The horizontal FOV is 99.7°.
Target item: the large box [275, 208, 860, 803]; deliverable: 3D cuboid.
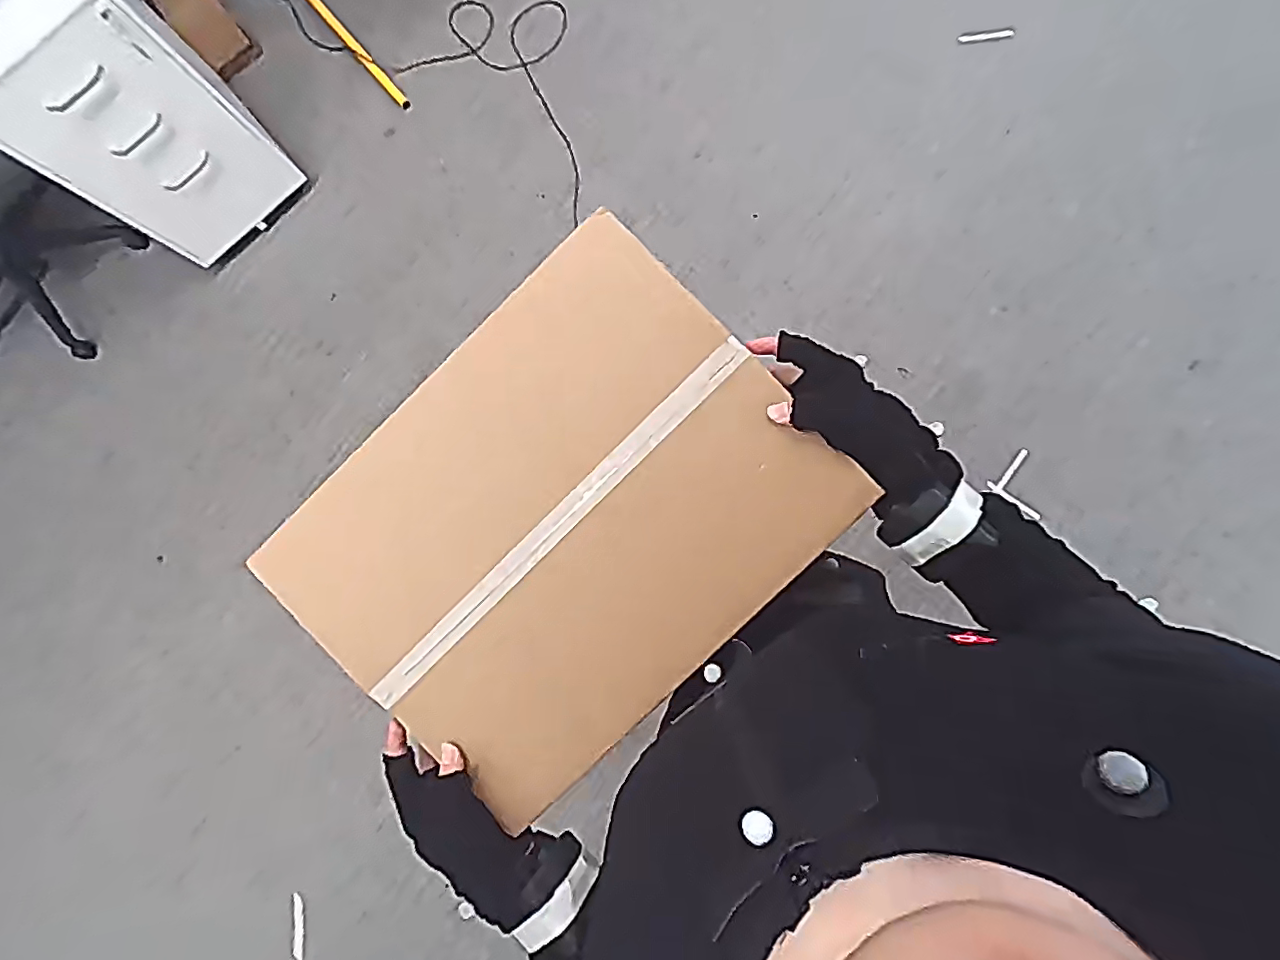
[{"bbox_3d":[-0.060,0.023,0.590,0.408,0.320,0.320,-44,90,3],"label":"large box"}]
